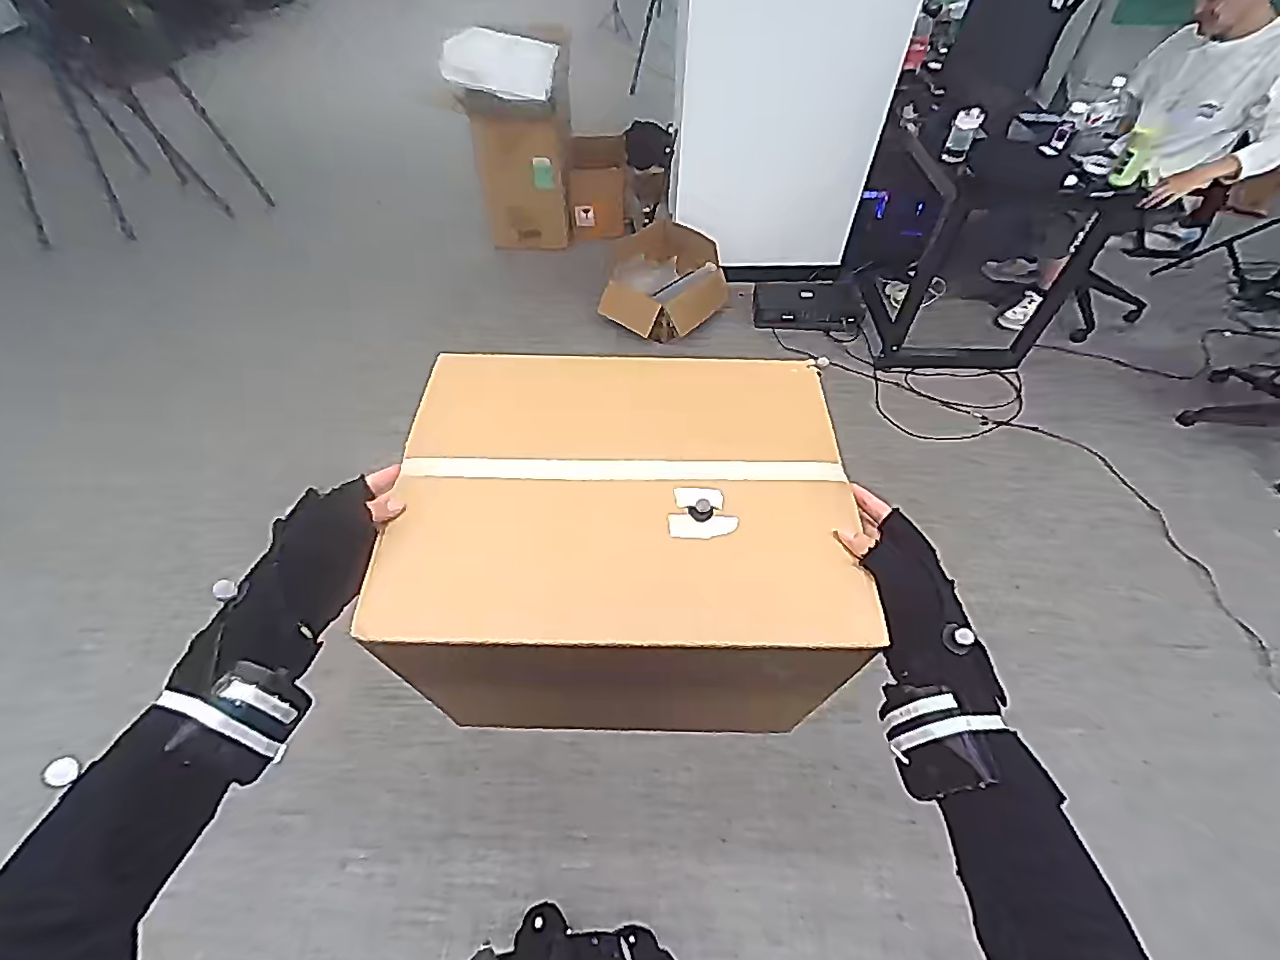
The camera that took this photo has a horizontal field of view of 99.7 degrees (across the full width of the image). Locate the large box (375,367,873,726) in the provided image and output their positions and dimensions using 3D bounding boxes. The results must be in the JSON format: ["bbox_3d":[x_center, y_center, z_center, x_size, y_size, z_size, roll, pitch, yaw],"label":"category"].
[{"bbox_3d":[-0.016,0.089,0.631,0.408,0.320,0.320,2,55,-1],"label":"large box"}]
